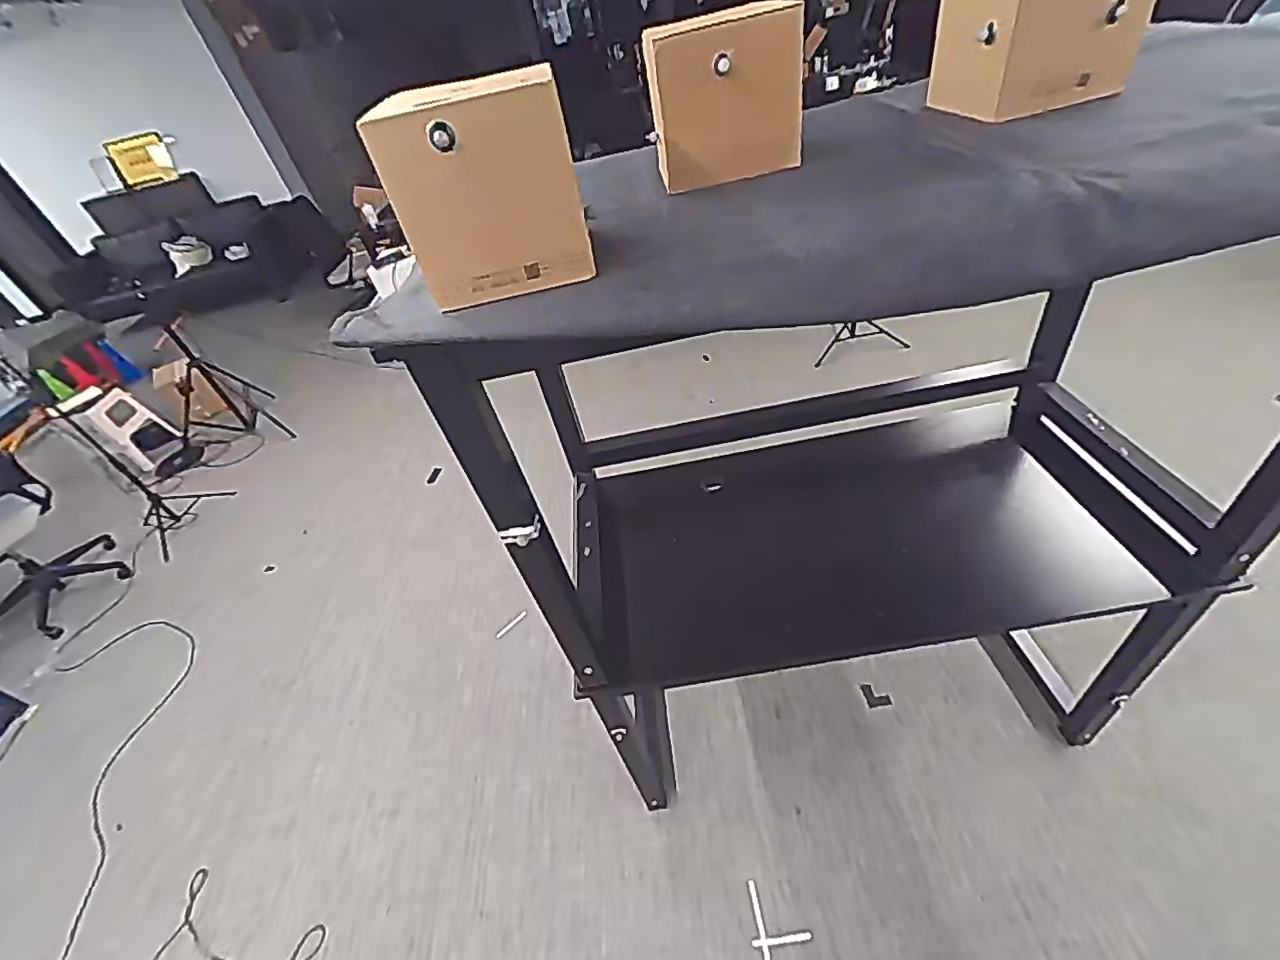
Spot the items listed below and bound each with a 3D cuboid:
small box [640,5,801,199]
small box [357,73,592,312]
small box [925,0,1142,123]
[{"bbox_3d":[0.103,-0.498,0.716,0.179,0.176,0.168,-11,42,5],"label":"small box"},{"bbox_3d":[-0.149,-0.294,0.555,0.168,0.176,0.179,-13,41,1],"label":"small box"},{"bbox_3d":[0.495,-0.576,0.689,0.168,0.176,0.179,-12,42,2],"label":"small box"}]
